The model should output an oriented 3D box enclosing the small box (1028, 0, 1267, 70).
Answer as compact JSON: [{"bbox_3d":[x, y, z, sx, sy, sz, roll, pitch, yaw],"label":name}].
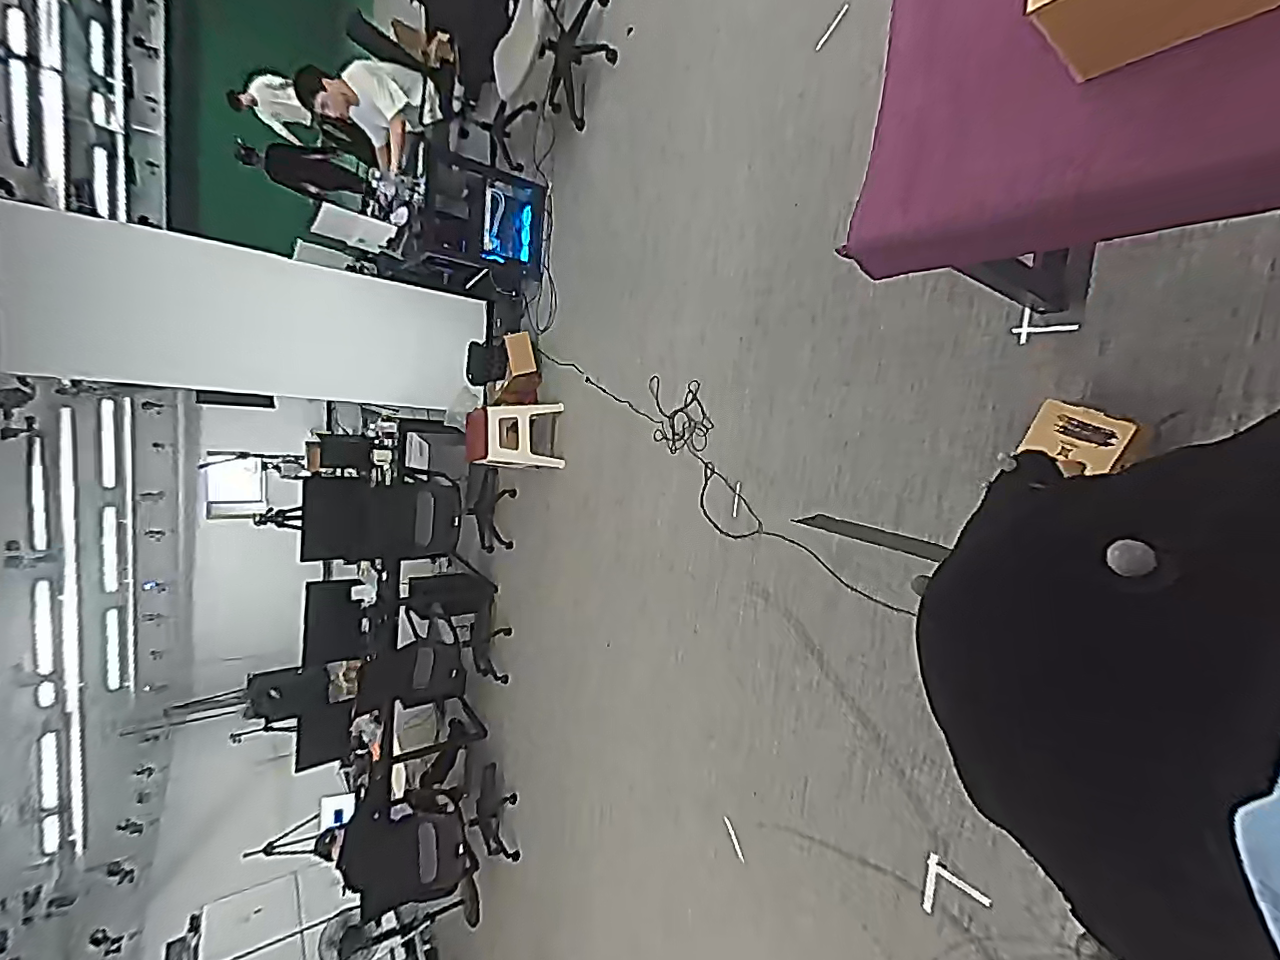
[{"bbox_3d":[0.524,-0.559,0.534,0.179,0.176,0.168,9,97,52],"label":"small box"}]
